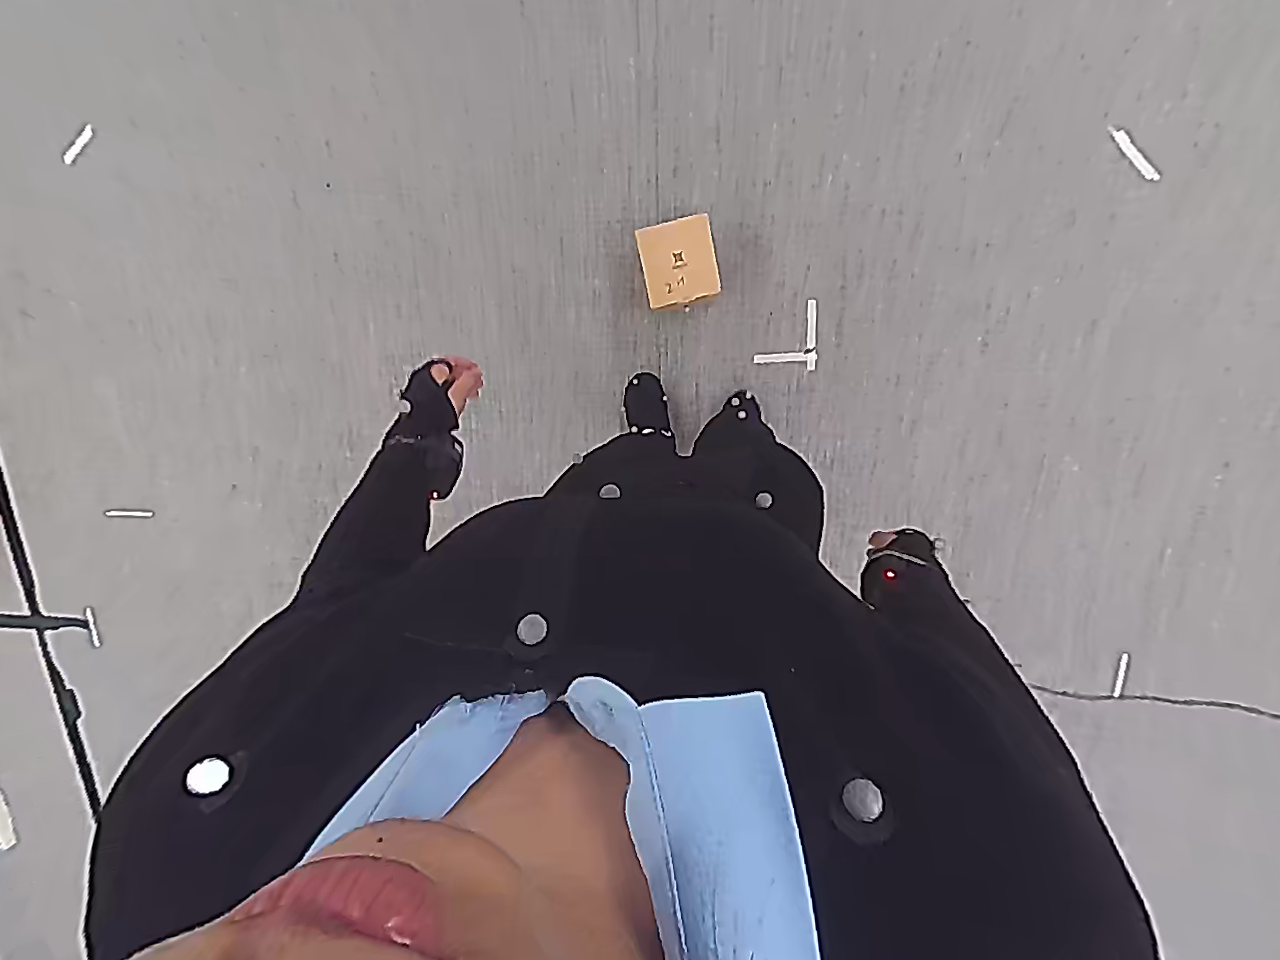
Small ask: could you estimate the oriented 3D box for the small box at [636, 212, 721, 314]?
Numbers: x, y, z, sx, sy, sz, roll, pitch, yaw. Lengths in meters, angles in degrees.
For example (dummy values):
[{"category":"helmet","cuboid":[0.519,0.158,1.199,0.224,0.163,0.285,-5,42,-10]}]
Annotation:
[{"category":"small box","cuboid":[0.092,-0.504,1.280,0.168,0.176,0.179,-11,102,8]}]
